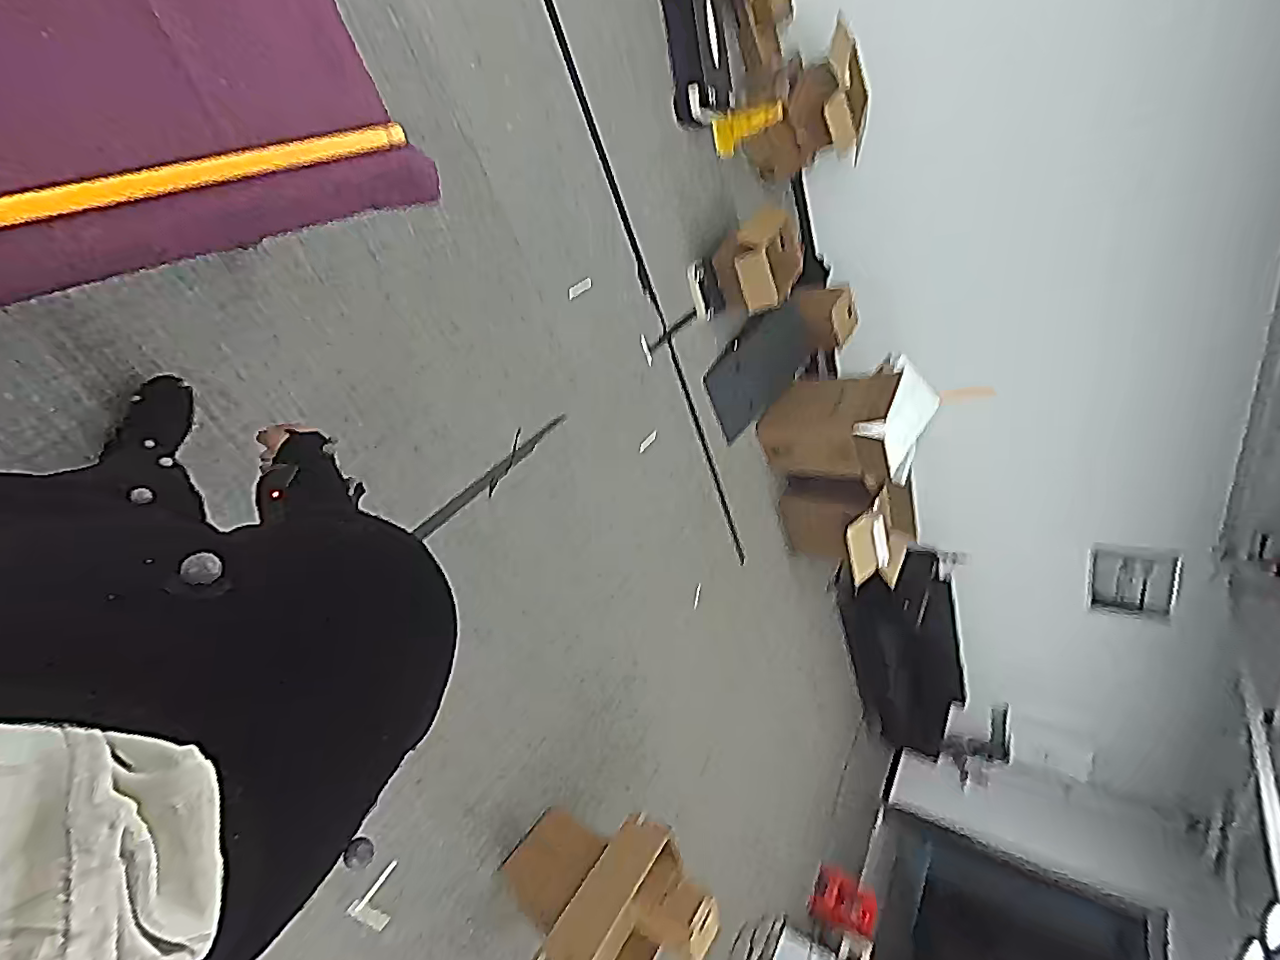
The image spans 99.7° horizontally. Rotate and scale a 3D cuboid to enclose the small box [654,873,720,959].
[{"bbox_3d":[0.167,1.565,1.943,0.168,0.176,0.179,-29,117,-46],"label":"small box"}]
